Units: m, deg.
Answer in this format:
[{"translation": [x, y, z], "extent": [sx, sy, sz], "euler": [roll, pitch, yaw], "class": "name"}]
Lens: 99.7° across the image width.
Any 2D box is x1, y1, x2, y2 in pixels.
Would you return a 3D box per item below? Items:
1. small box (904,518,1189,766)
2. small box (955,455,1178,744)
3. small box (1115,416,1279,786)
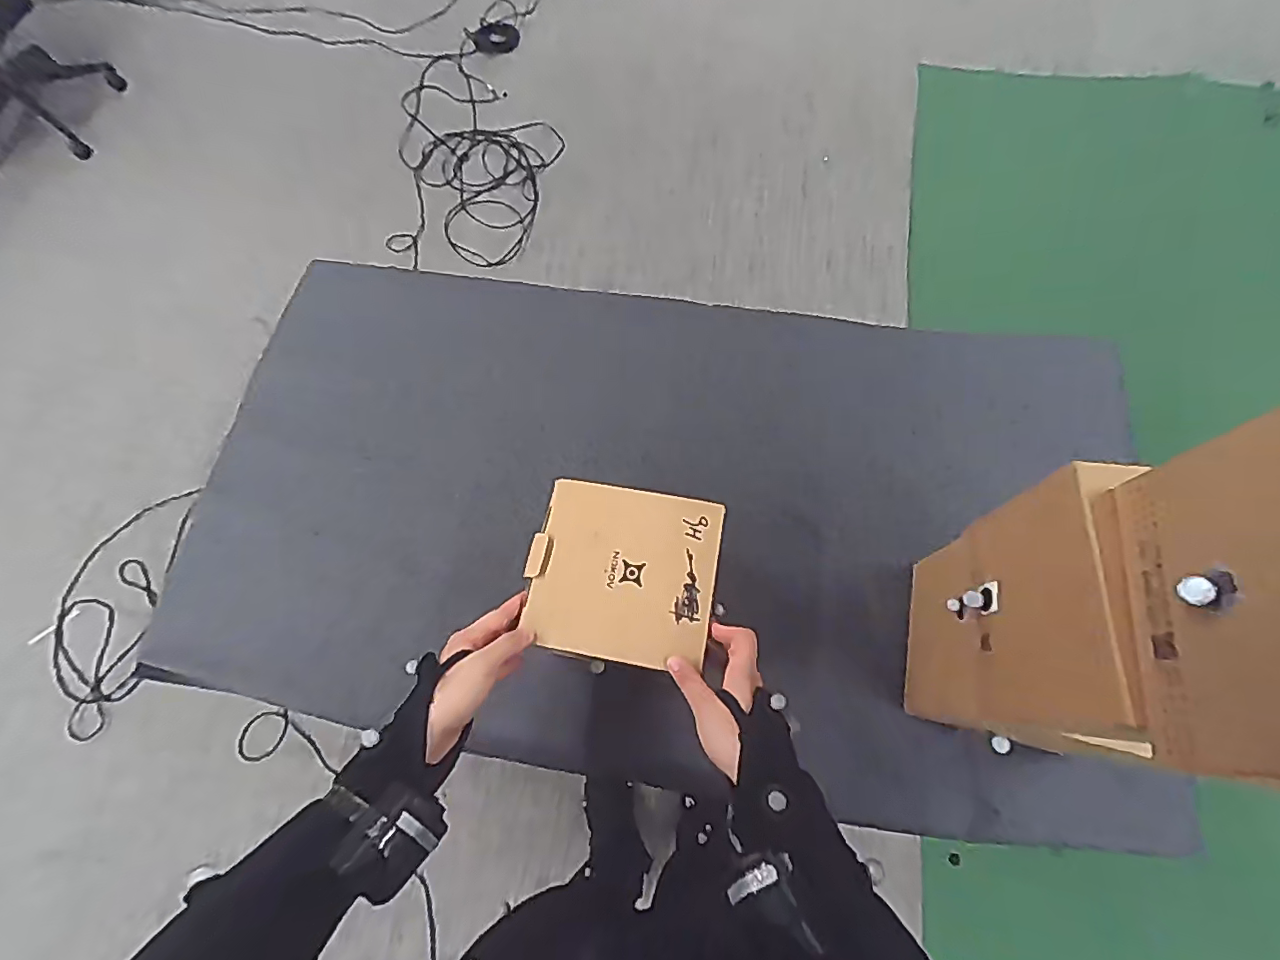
[{"translation": [0.382, 0.160, 0.540], "extent": [0.168, 0.176, 0.179], "euler": [12, 70, 9], "class": "small box"}, {"translation": [0.363, 0.097, 0.391], "extent": [0.179, 0.176, 0.168], "euler": [5, 67, 7], "class": "small box"}, {"translation": [0.364, 0.056, 0.229], "extent": [0.179, 0.176, 0.168], "euler": [10, 67, 7], "class": "small box"}]
